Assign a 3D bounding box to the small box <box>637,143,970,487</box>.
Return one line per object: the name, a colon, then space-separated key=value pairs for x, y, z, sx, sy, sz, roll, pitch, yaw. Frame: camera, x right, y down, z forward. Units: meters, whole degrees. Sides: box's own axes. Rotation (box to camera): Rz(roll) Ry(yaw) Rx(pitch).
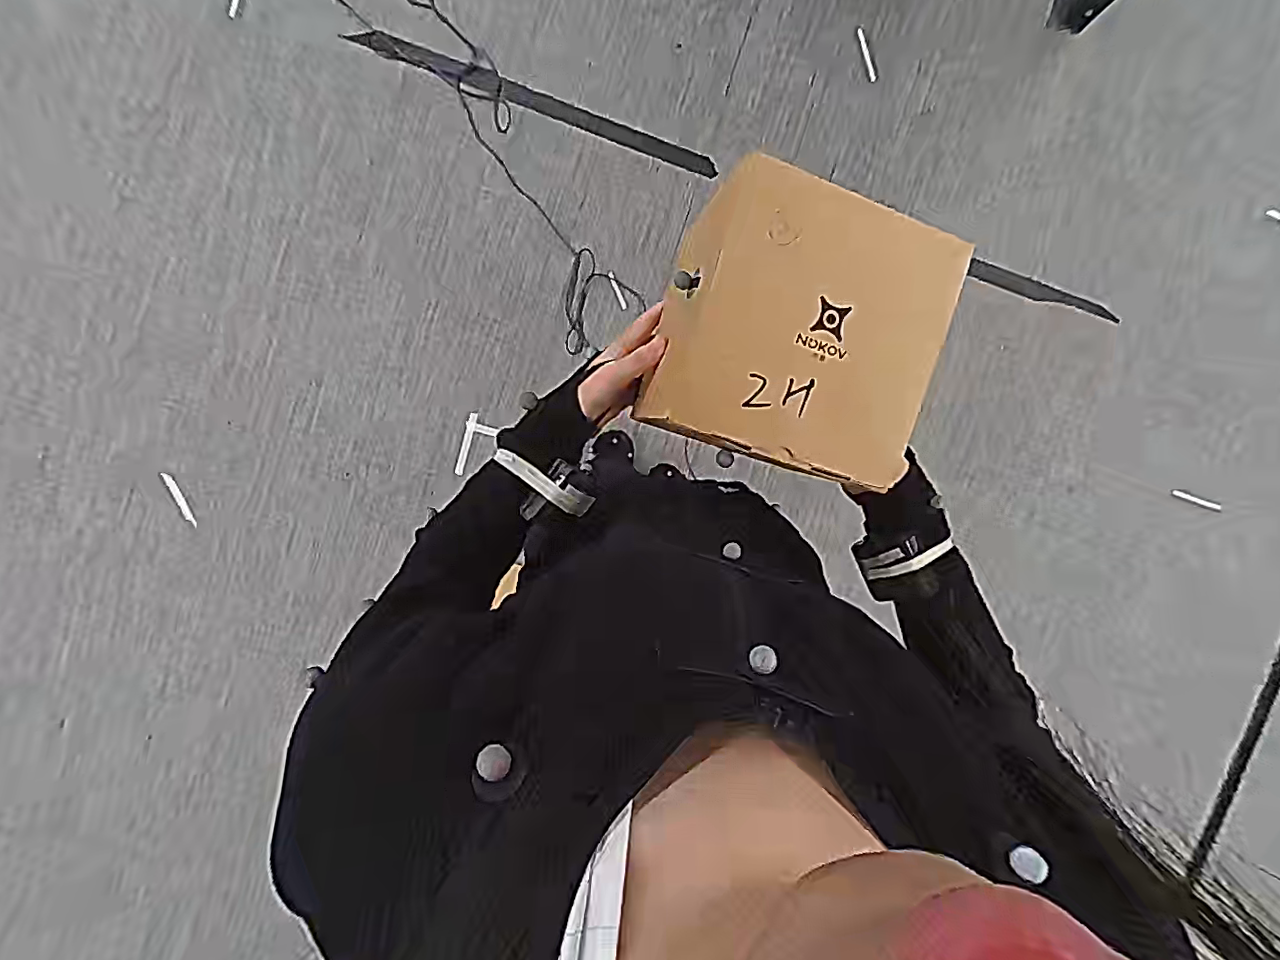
small box: x=0.105 y=-0.110 z=0.426 sx=0.168 sy=0.176 sz=0.179 roll=17 pitch=94 yaw=-11
